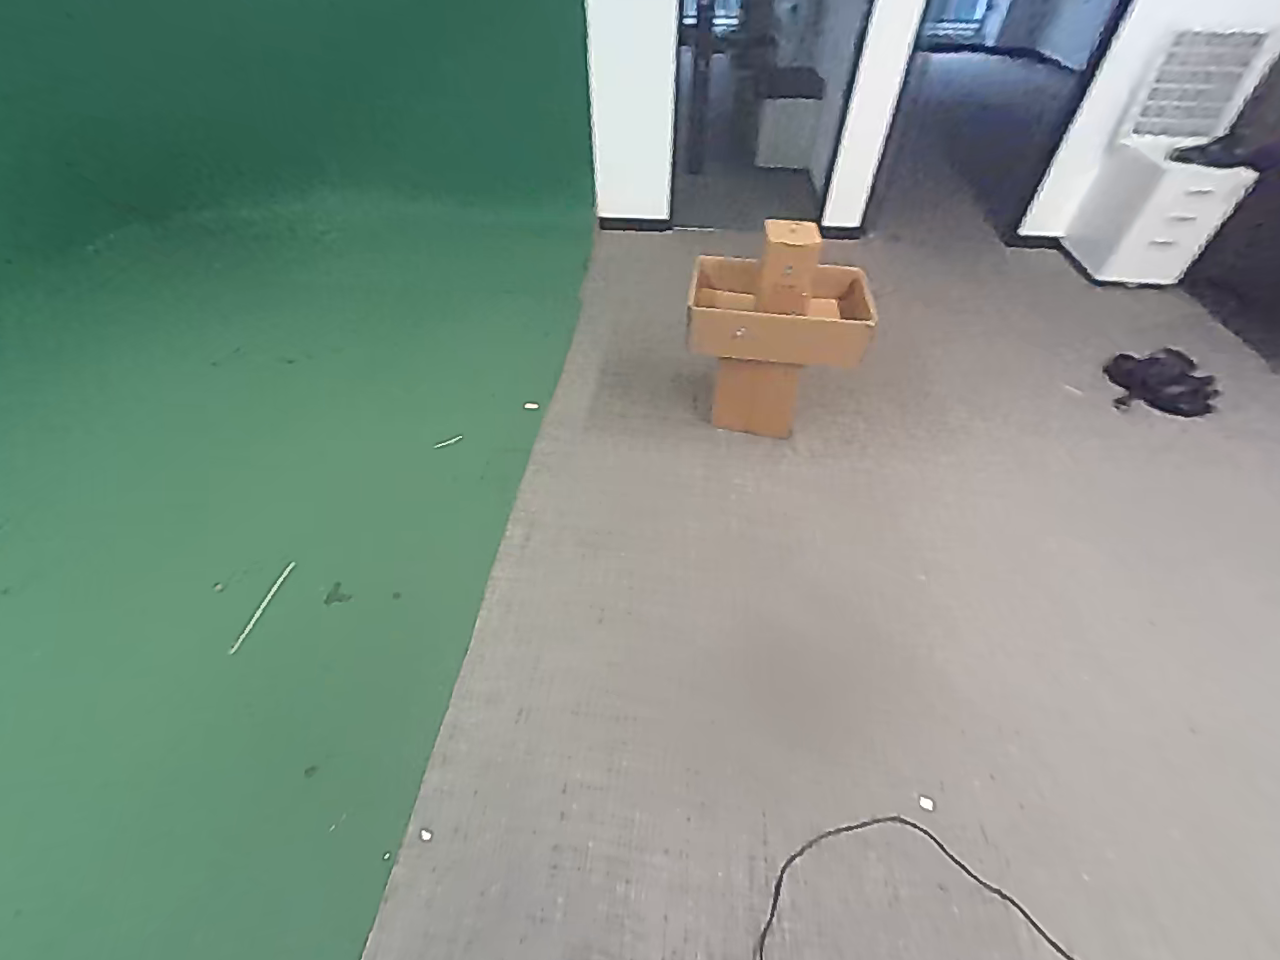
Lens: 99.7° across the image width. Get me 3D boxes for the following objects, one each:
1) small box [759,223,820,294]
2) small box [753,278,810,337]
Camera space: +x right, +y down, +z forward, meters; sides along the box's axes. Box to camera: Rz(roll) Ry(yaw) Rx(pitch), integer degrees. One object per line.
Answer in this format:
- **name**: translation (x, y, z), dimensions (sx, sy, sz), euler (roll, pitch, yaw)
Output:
- **small box**: translation (0.500, -0.745, 1.826), dimensions (0.168, 0.176, 0.179), euler (6, 47, 3)
- **small box**: translation (0.503, -0.630, 1.942), dimensions (0.168, 0.176, 0.179), euler (5, 45, 3)
